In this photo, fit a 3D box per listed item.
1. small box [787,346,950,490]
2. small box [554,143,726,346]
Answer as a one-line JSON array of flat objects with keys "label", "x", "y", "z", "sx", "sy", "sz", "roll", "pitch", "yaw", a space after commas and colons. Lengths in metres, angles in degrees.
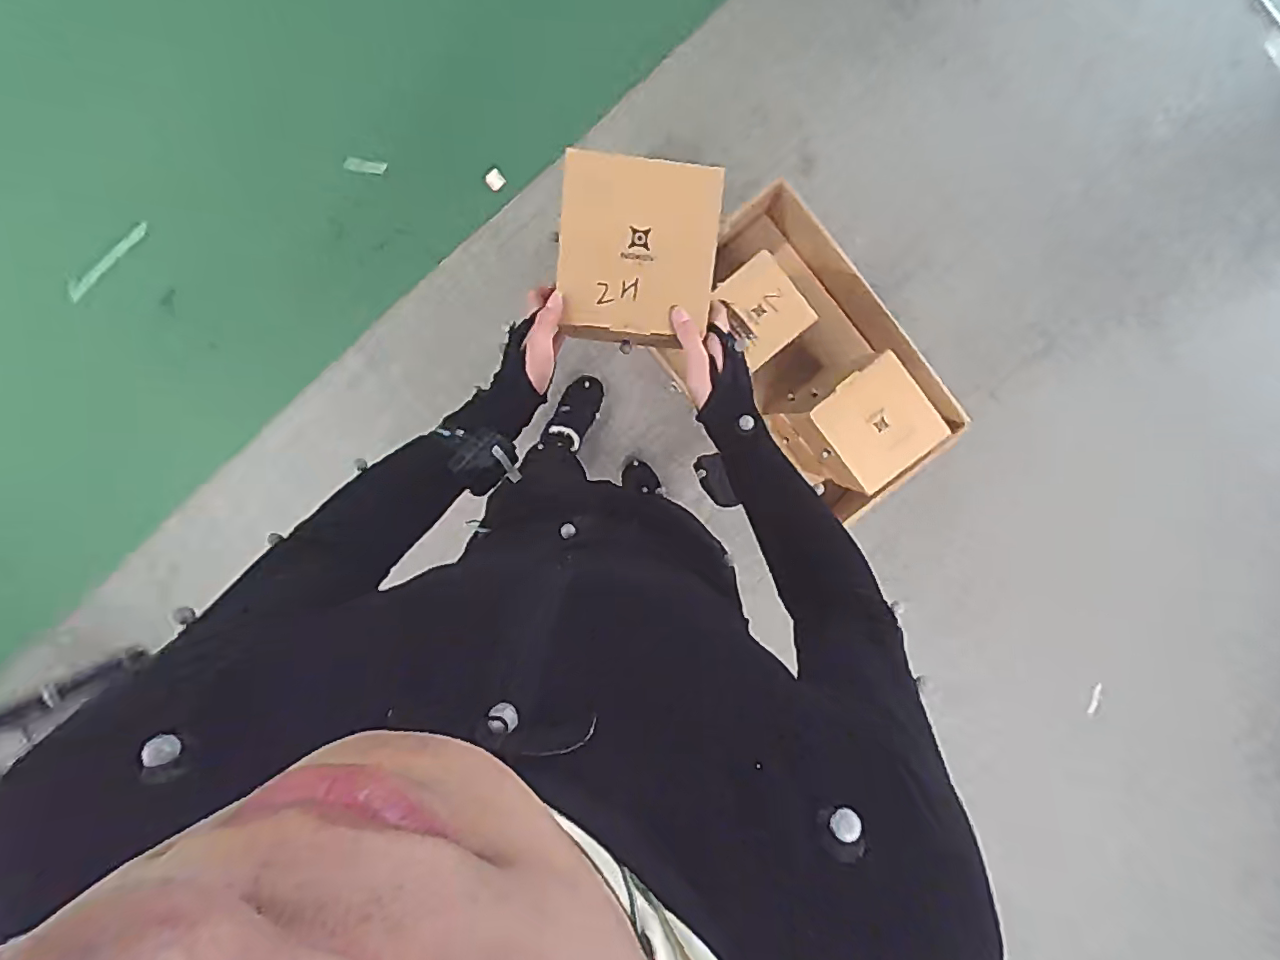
[{"label": "small box", "x": 0.385, "y": -0.107, "z": 0.947, "sx": 0.168, "sy": 0.176, "sz": 0.179, "roll": -37, "pitch": 96, "yaw": 5}, {"label": "small box", "x": -0.007, "y": -0.259, "z": 0.636, "sx": 0.168, "sy": 0.176, "sz": 0.179, "roll": 5, "pitch": 101, "yaw": -4}]
